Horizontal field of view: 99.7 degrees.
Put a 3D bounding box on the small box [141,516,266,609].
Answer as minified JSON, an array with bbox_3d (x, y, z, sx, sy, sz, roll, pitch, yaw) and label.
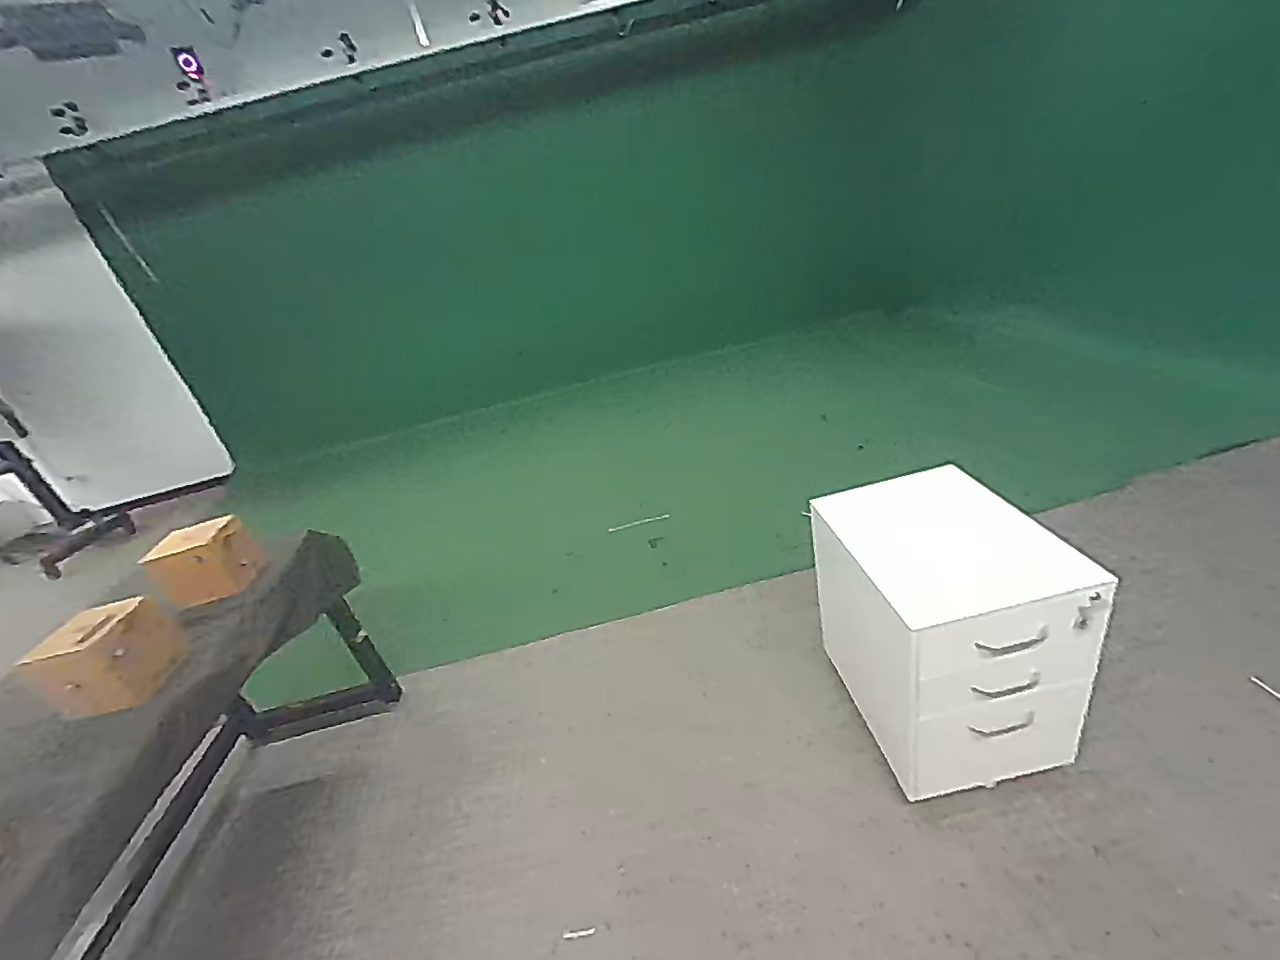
[{"bbox_3d":[-1.187,0.229,1.488,0.179,0.176,0.168,-17,27,-5],"label":"small box"}]
